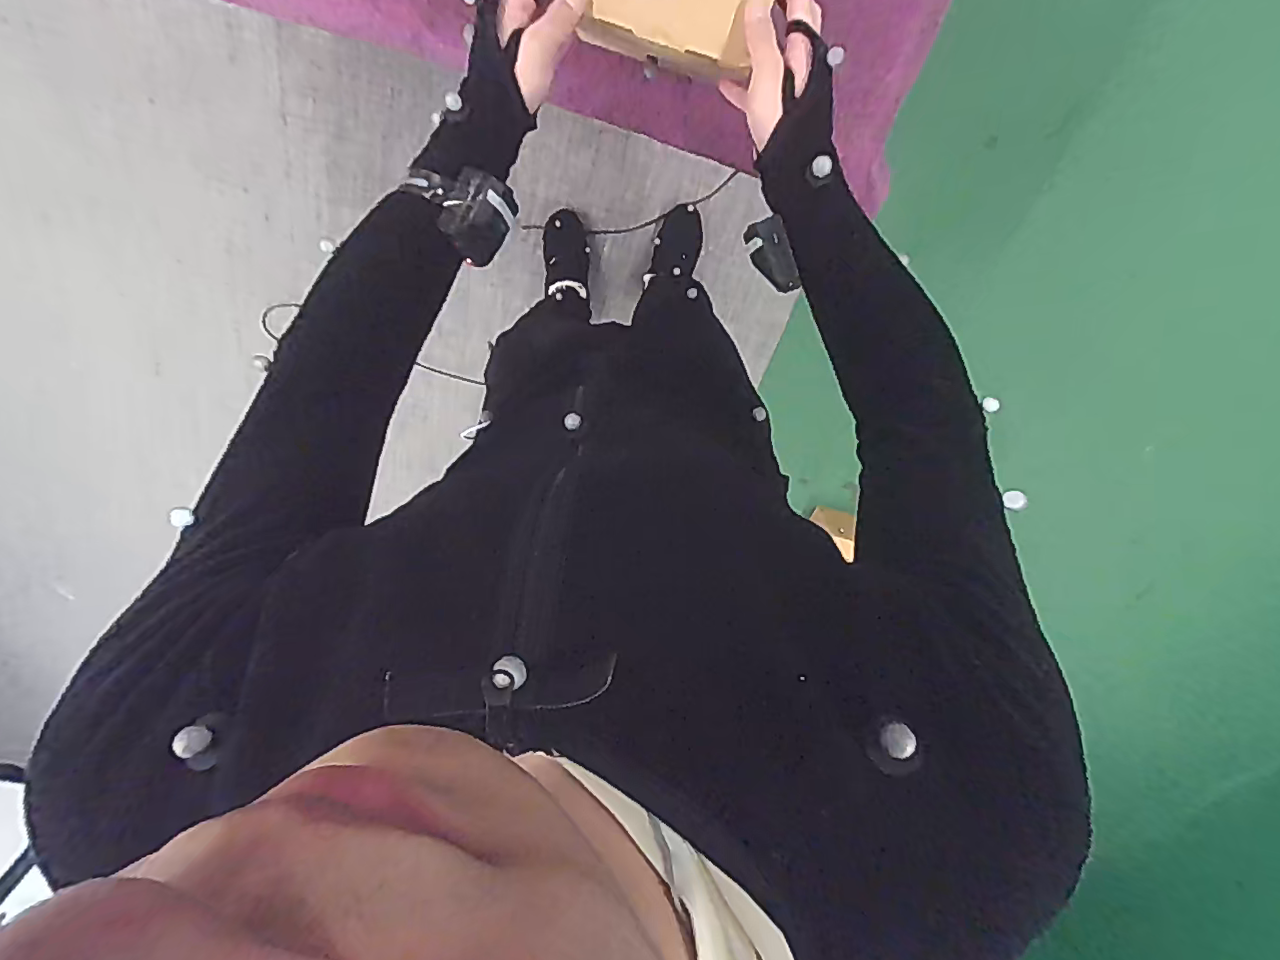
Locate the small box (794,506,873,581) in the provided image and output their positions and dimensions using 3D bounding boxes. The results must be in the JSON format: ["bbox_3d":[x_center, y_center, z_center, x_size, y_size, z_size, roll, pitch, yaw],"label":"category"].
[{"bbox_3d":[0.648,0.210,1.832,0.179,0.176,0.168,16,122,-8],"label":"small box"}]

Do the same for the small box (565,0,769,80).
[{"bbox_3d":[0.036,-0.479,0.468,0.168,0.176,0.179,13,123,-8],"label":"small box"}]
